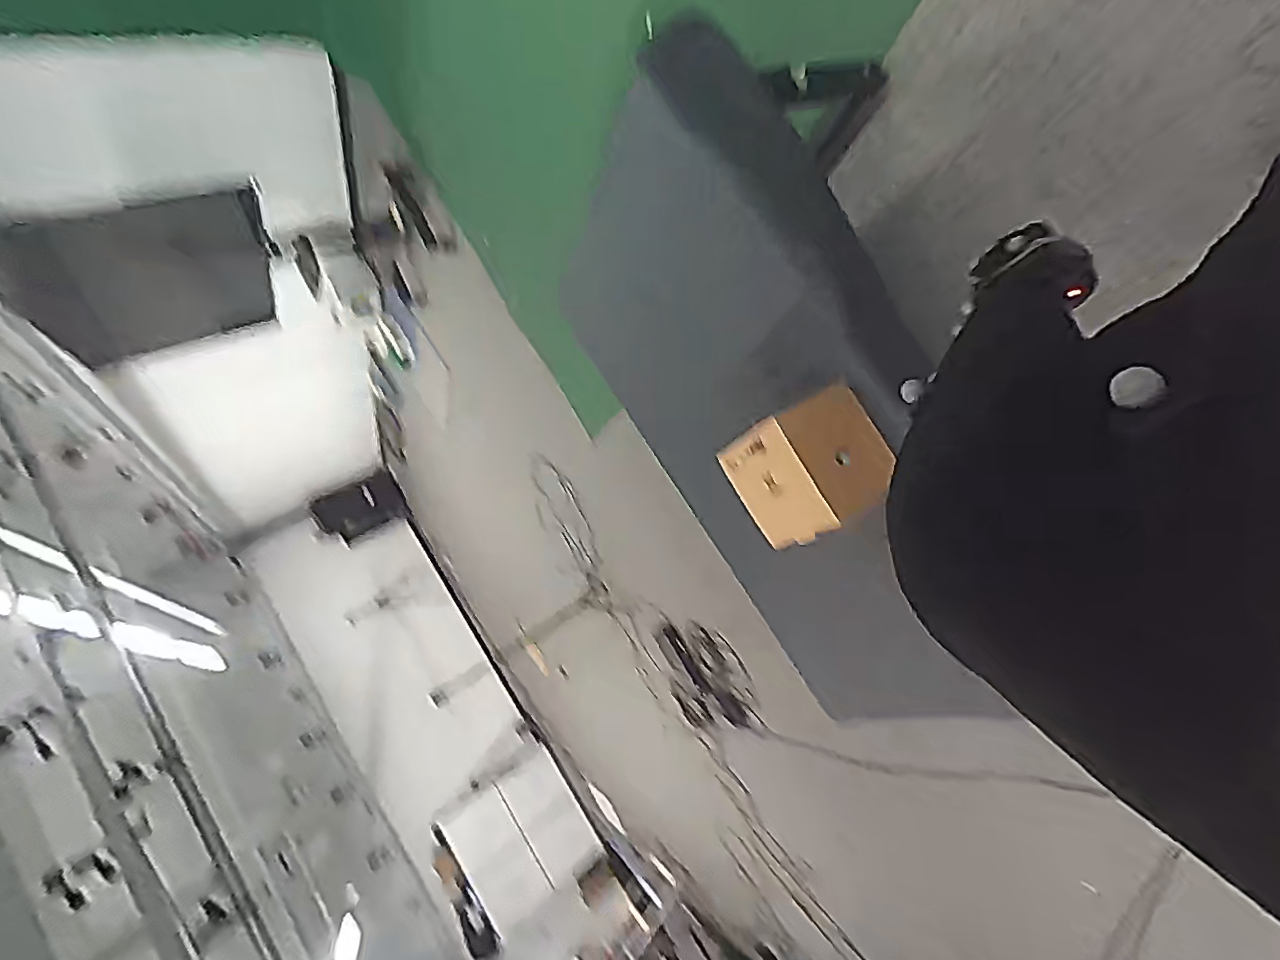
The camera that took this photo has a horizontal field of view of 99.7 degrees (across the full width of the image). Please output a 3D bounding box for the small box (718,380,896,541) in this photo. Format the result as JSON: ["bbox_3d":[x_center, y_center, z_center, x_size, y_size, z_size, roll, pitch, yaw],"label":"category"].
[{"bbox_3d":[0.265,-0.029,0.863,0.179,0.176,0.168,59,152,4],"label":"small box"}]
